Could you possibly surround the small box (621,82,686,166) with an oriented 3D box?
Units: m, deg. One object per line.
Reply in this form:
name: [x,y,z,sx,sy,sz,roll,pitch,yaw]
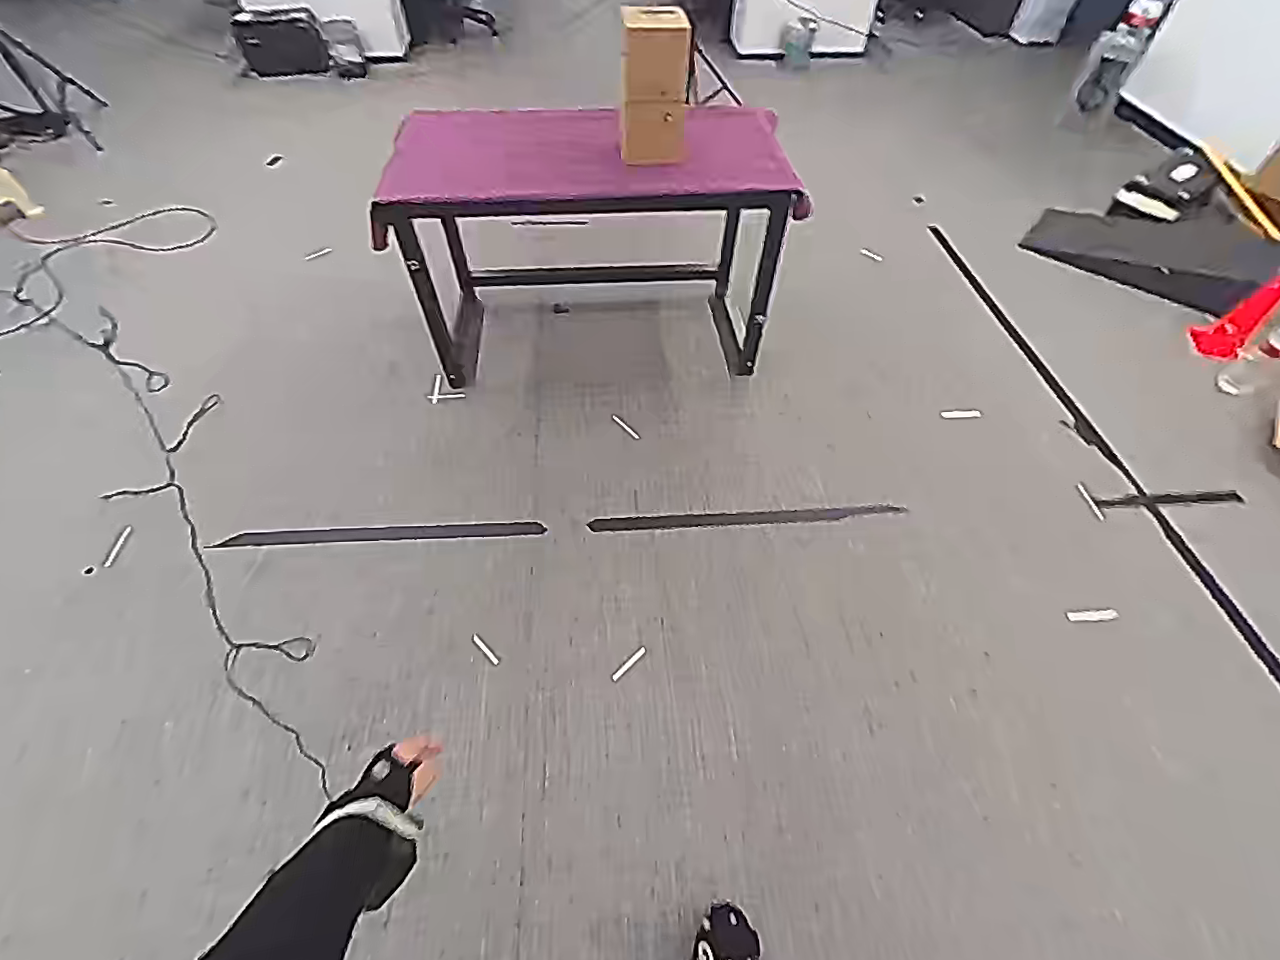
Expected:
small box: [0.034,-1.064,1.621,0.179,0.176,0.168,-5,53,-3]
